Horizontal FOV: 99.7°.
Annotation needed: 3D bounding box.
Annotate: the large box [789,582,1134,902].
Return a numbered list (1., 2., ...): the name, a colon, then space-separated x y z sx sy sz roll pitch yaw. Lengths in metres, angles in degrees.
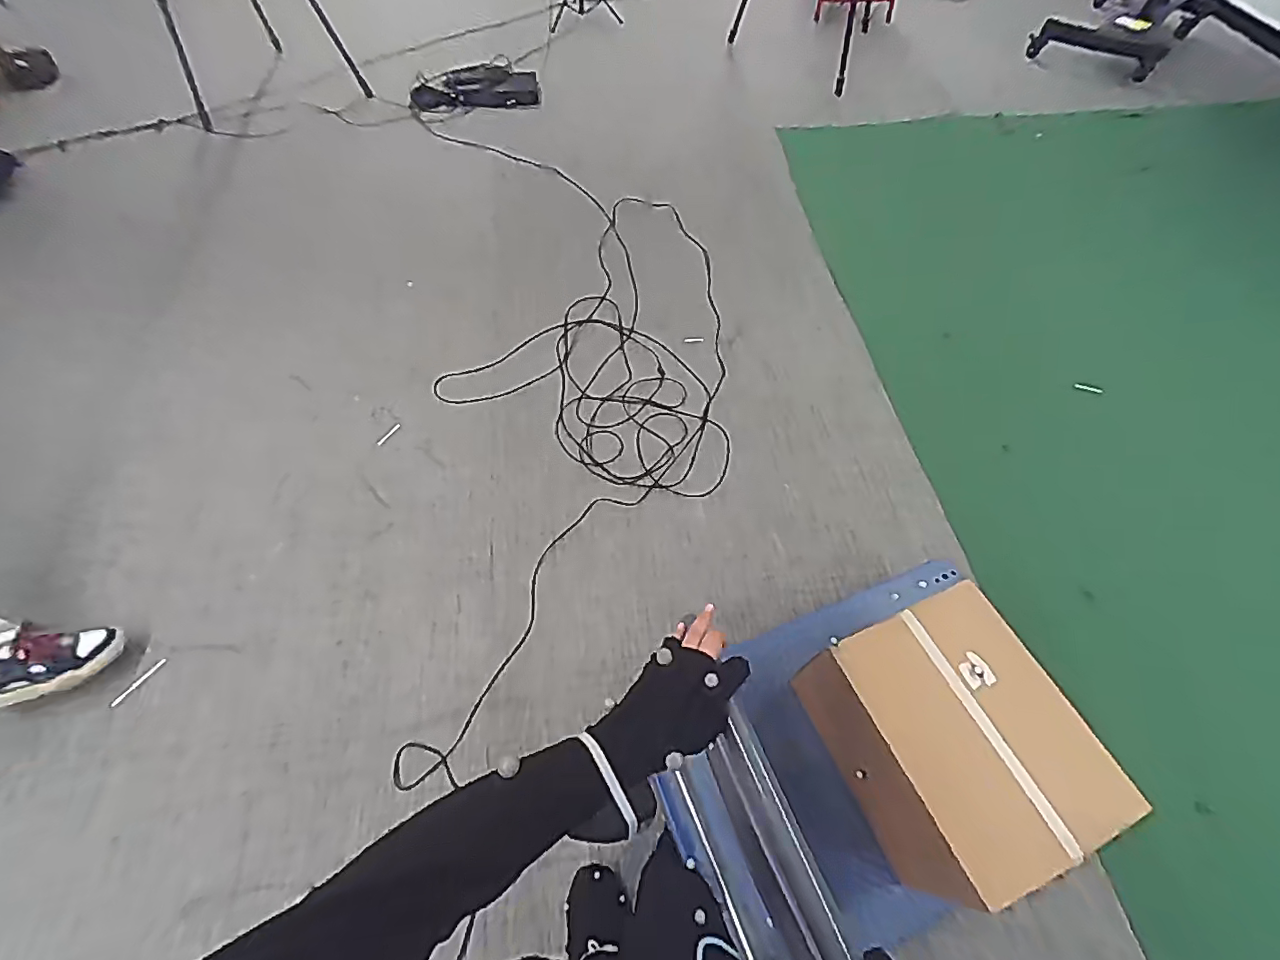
1. large box: 0.544 0.473 1.018 0.320 0.320 0.408 -21 61 -12
